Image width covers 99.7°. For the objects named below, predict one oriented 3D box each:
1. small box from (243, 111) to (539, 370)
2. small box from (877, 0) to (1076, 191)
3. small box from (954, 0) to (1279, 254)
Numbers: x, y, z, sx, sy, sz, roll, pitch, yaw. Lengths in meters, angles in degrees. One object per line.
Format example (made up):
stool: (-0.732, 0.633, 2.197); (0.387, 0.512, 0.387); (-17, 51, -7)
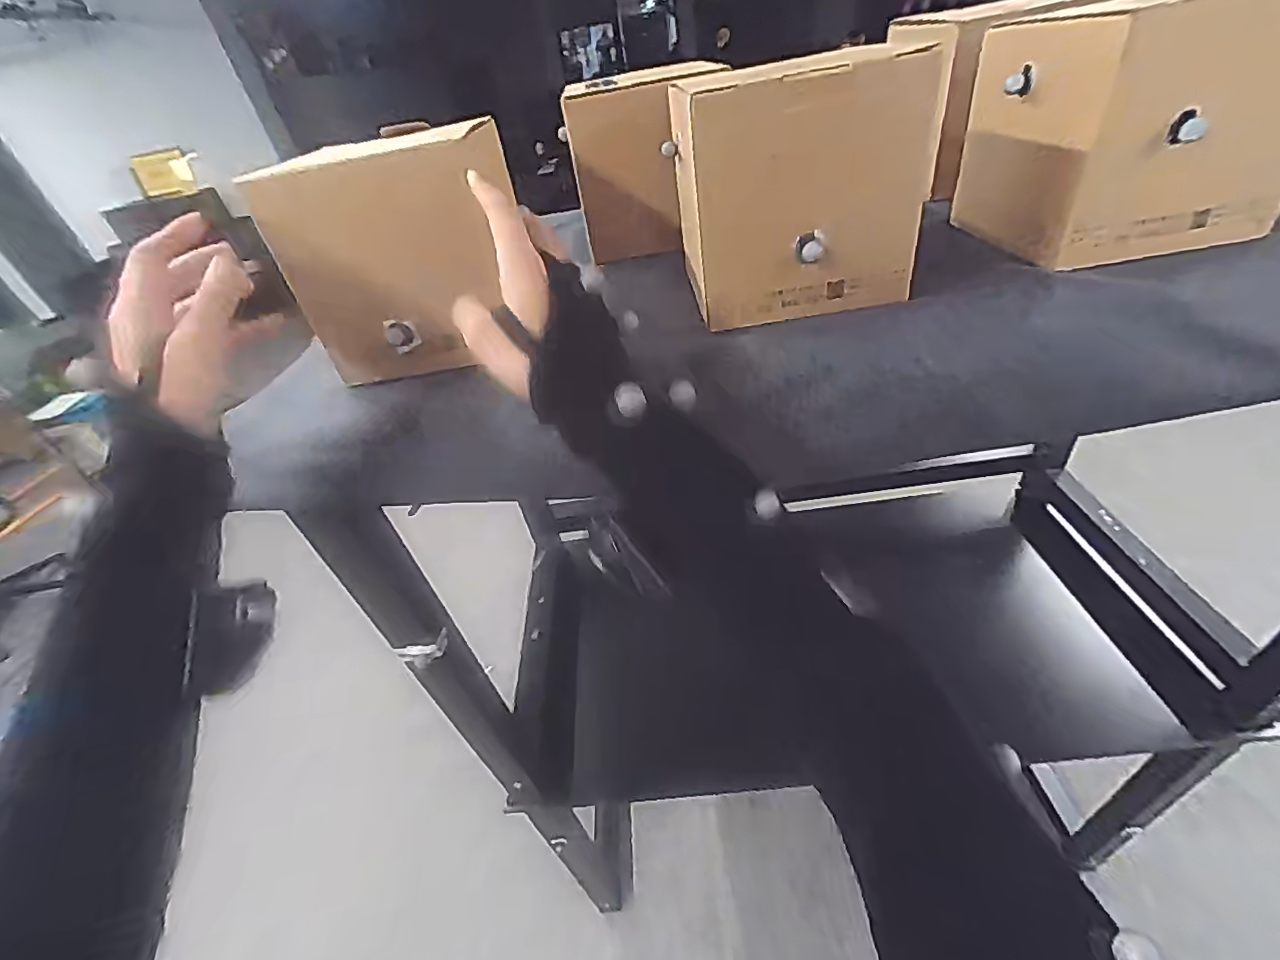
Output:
small box: (-0.195, -0.219, 0.490); (0.168, 0.176, 0.179); (-10, 37, 1)
small box: (0.402, -0.460, 0.649); (0.168, 0.176, 0.179); (-9, 38, 3)
small box: (0.396, -0.300, 0.451); (0.168, 0.176, 0.179); (-8, 36, 4)
